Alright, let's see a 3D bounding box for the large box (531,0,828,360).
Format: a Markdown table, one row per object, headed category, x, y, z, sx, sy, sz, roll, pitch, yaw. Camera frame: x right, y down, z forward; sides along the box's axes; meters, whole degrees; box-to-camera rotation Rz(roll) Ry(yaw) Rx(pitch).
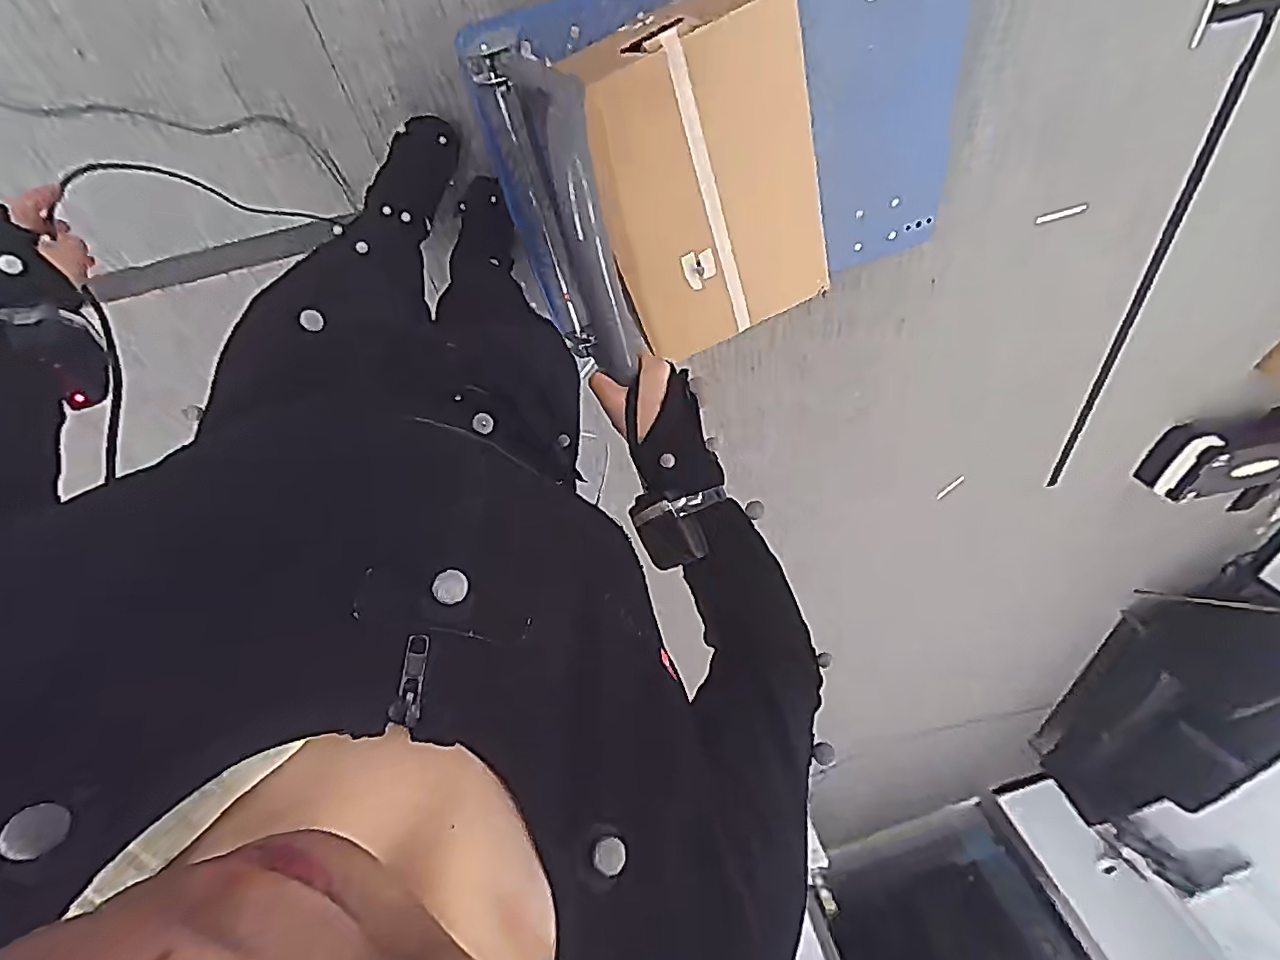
| category | x | y | z | sx | sy | sz | roll | pitch | yaw |
| --- | --- | --- | --- | --- | --- | --- | --- | --- | --- |
| large box | 0.066 | -0.486 | 0.875 | 0.320 | 0.320 | 0.408 | -24 | 134 | 4 |
